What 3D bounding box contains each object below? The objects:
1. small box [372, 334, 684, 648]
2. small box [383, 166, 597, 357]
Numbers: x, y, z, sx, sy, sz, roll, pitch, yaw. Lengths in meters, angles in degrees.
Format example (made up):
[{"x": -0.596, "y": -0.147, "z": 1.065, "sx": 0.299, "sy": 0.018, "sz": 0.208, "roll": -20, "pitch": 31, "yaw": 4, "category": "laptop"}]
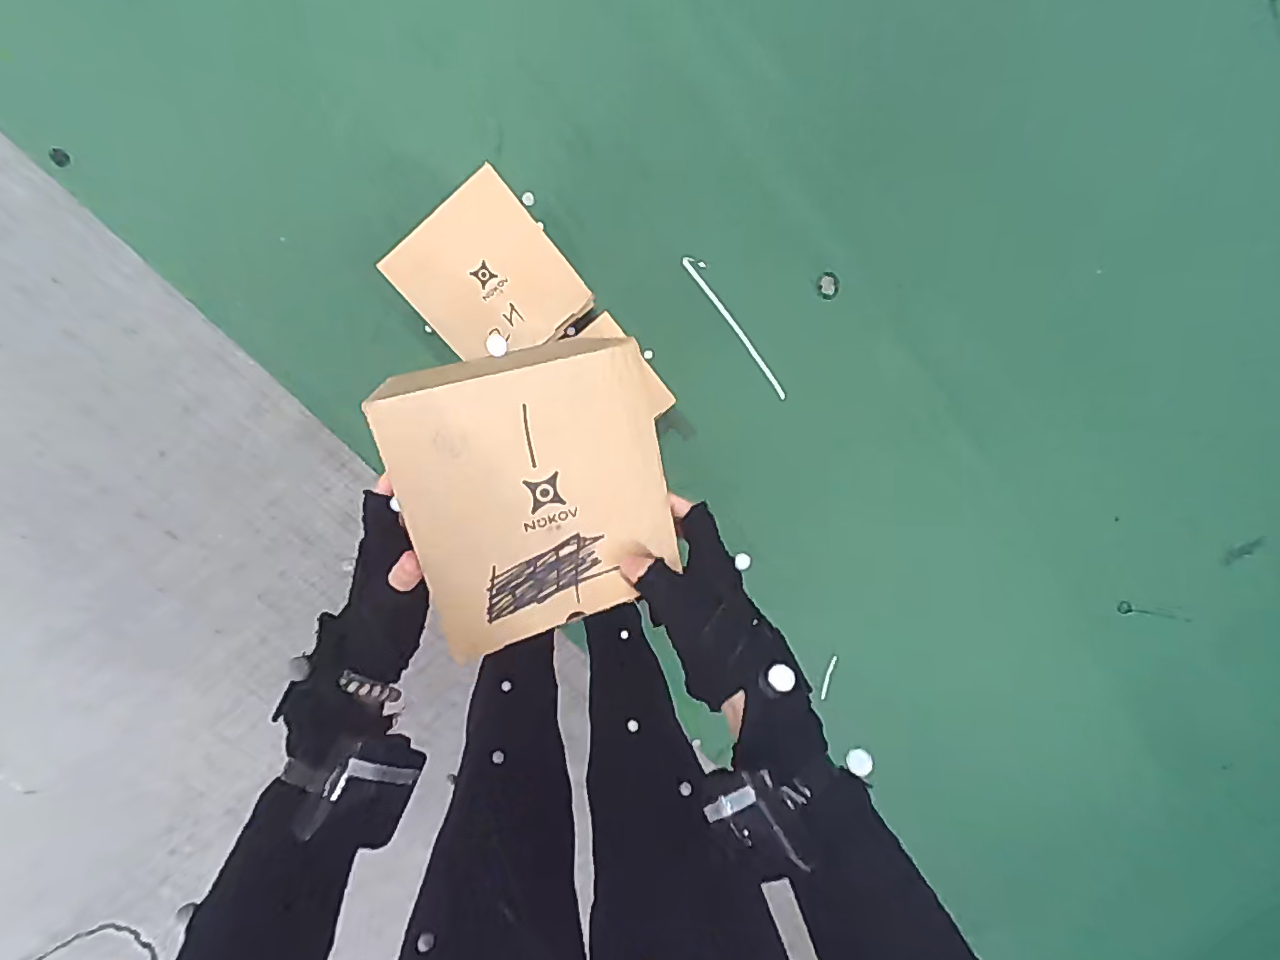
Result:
[{"x": -0.084, "y": -0.010, "z": 0.420, "sx": 0.168, "sy": 0.176, "sz": 0.179, "roll": -18, "pitch": 110, "yaw": -15, "category": "small box"}, {"x": -0.174, "y": -0.244, "z": 0.677, "sx": 0.168, "sy": 0.176, "sz": 0.179, "roll": -39, "pitch": 108, "yaw": 6, "category": "small box"}]
